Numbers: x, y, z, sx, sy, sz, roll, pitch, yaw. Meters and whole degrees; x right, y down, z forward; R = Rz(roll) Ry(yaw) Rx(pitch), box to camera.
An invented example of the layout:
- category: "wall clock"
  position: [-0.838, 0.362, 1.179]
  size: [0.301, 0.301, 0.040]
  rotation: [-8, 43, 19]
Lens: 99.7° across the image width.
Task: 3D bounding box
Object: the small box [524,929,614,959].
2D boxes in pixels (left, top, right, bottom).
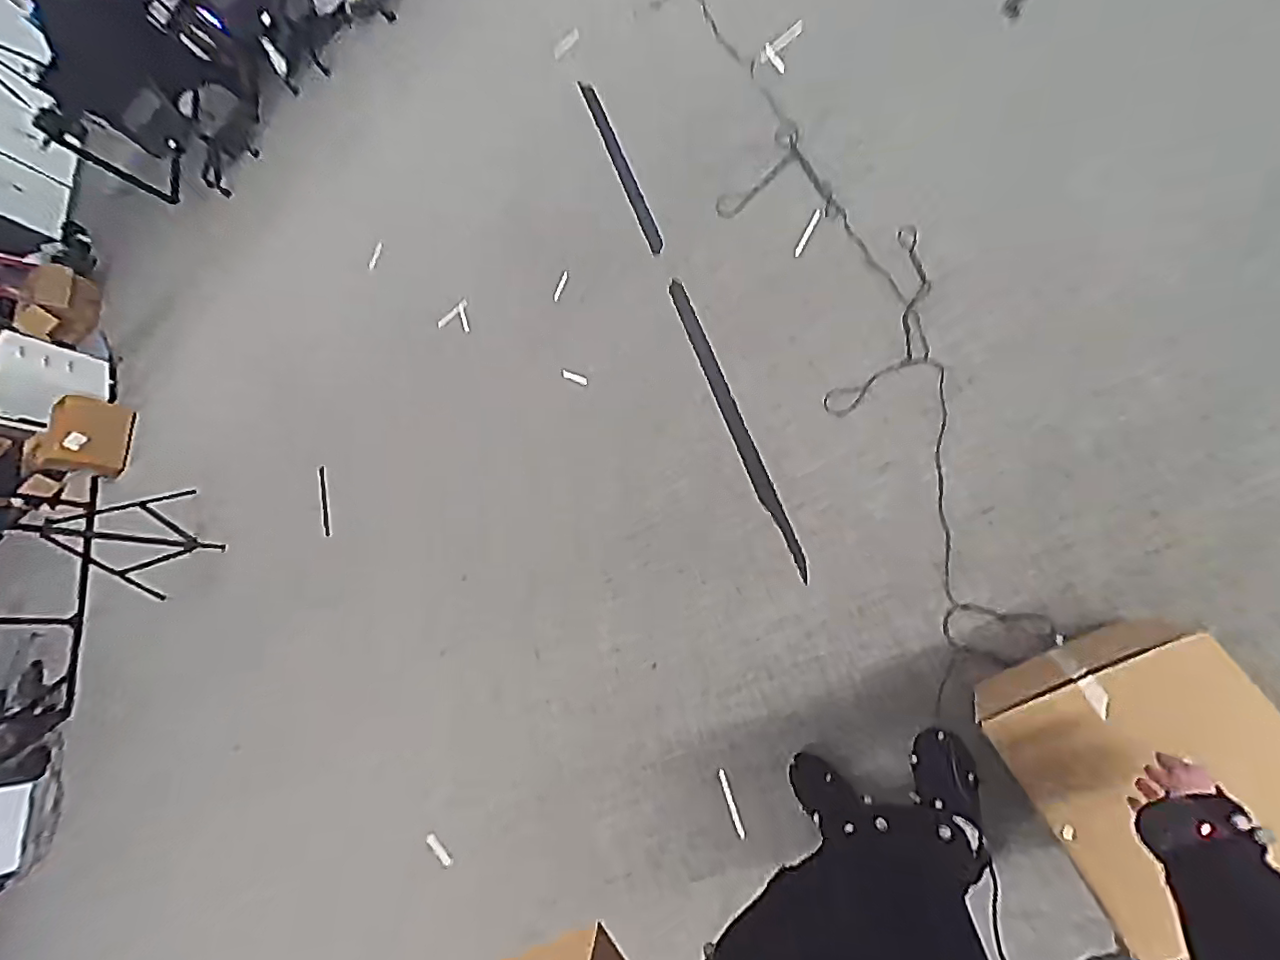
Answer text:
- category: "small box"
  position: [-0.086, 0.712, 0.648]
  size: [0.168, 0.179, 0.176]
  rotation: [-31, 93, 12]
